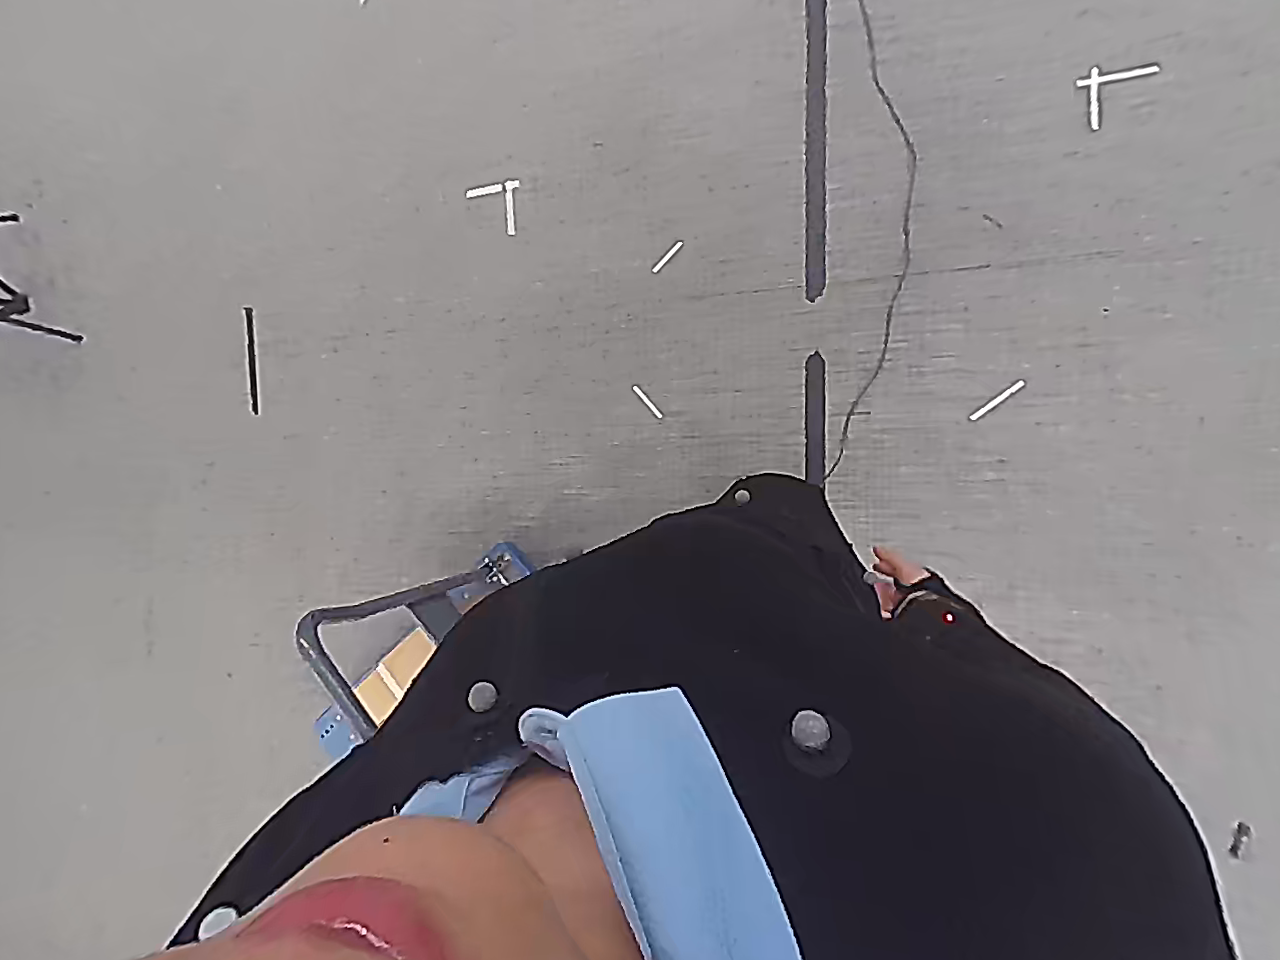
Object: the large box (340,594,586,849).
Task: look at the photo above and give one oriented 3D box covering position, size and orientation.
[{"bbox_3d":[-0.407,0.550,1.305,0.320,0.320,0.408,-43,81,11],"label":"large box"}]
